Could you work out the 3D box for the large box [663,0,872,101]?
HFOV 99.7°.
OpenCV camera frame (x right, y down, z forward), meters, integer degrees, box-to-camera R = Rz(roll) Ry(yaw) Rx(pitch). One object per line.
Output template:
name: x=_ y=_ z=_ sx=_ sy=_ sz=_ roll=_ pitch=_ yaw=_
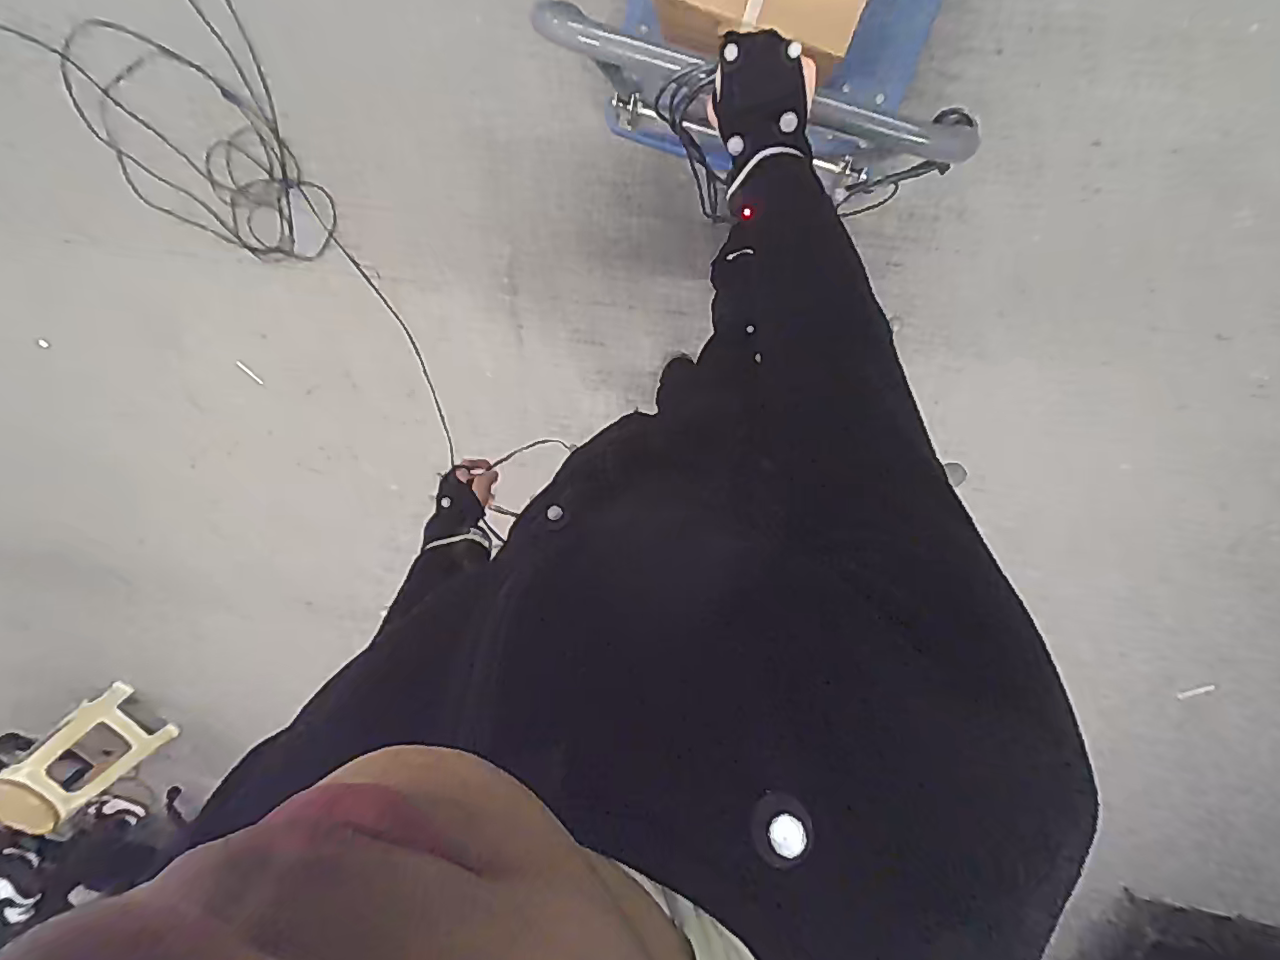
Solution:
large box: x=0.247 y=-0.912 z=0.862 sx=0.320 sy=0.320 sz=0.408 roll=20 pitch=114 yaw=-1
